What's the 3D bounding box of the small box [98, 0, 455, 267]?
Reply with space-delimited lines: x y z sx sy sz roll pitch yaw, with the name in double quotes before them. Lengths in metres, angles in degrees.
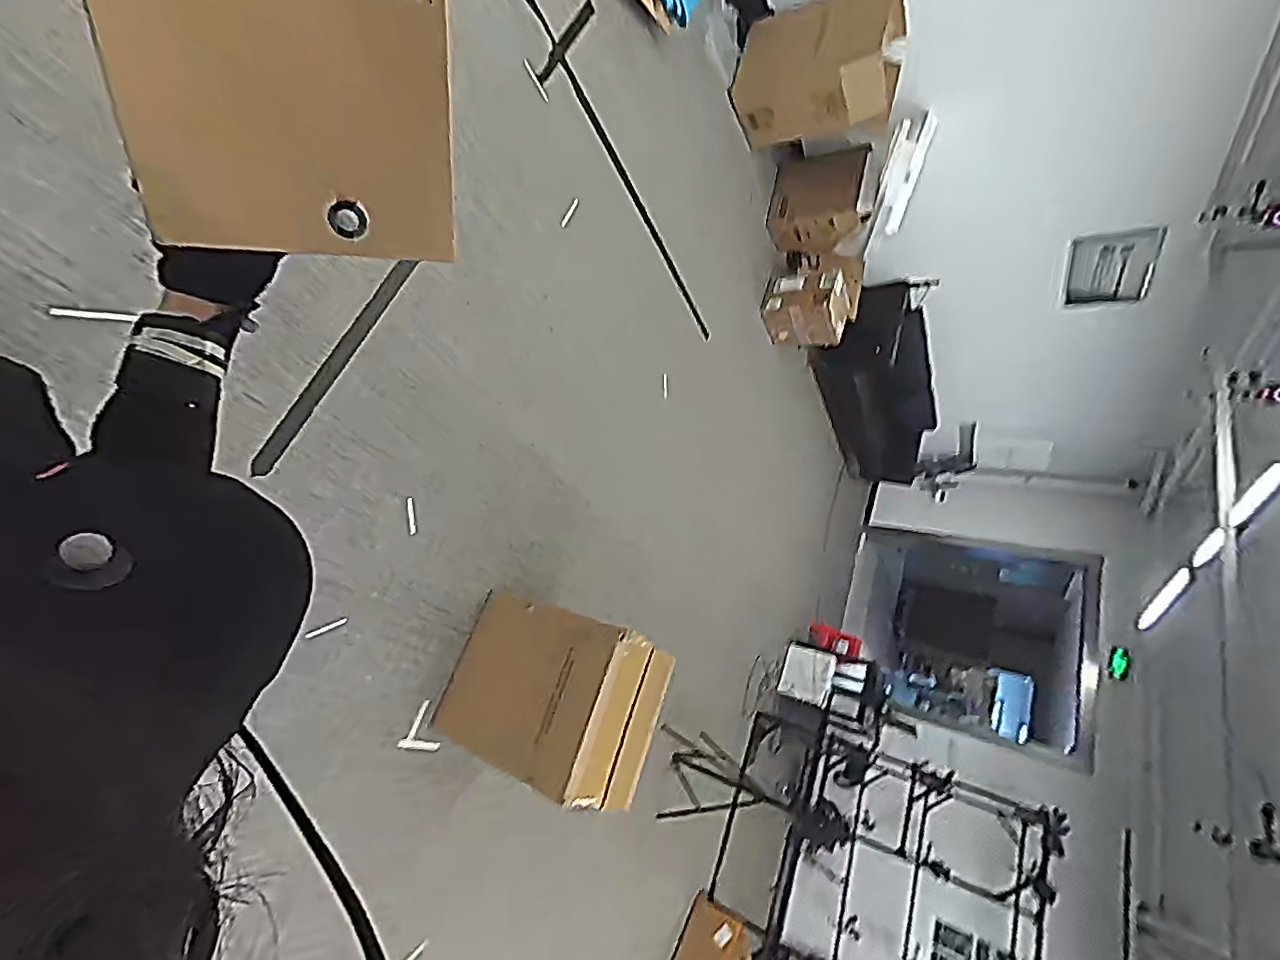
"small box" -0.223 -0.255 0.363 0.168 0.179 0.176 -6 123 -26
